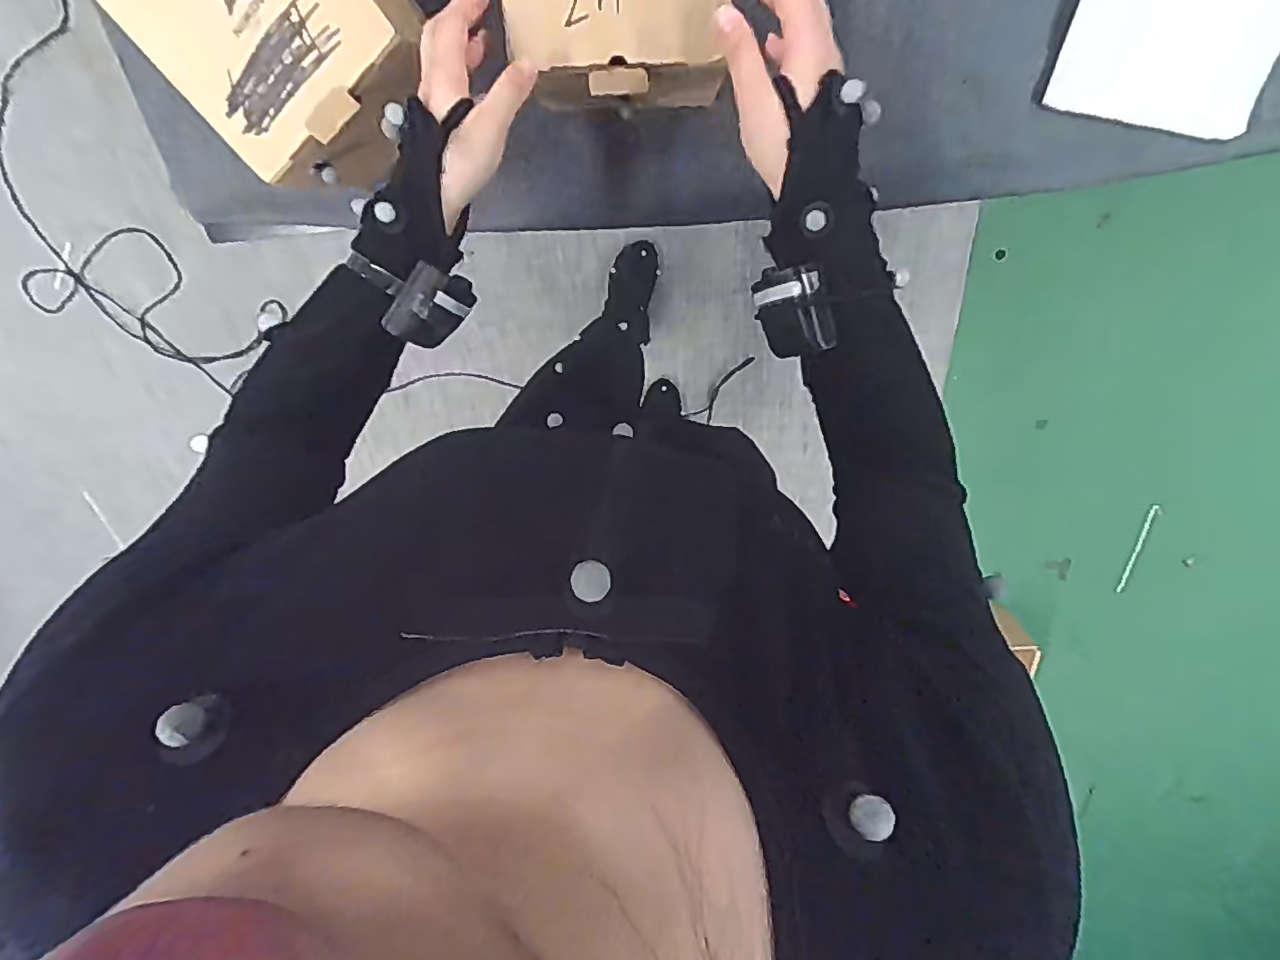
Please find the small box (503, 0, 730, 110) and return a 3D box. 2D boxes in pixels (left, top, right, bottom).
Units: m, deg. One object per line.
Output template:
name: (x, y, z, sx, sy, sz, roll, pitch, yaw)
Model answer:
small box: (-0.015, -0.420, 0.437, 0.168, 0.176, 0.179, 0, 117, 3)
